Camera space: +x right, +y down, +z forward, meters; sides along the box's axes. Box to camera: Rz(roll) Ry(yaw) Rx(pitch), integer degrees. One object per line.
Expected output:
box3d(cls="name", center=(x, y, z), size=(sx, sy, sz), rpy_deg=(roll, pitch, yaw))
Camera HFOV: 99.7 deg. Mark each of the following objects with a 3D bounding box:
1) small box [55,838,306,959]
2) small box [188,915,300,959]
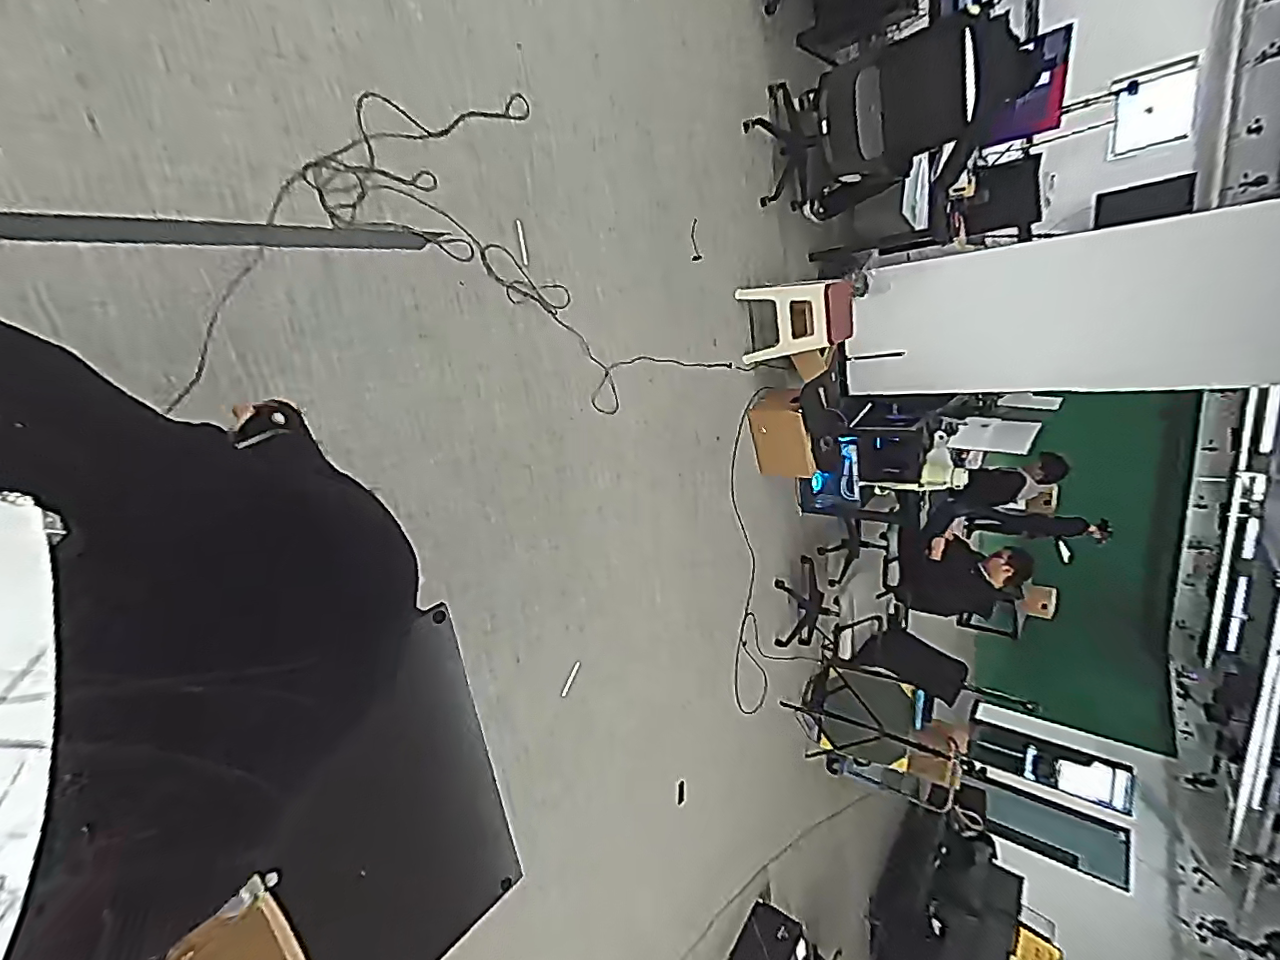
box3d(cls="small box", center=(-0.500, 0.545, 0.603), size=(0.168, 0.176, 0.179), rpy_deg=(-30, 116, -43))
box3d(cls="small box", center=(-0.376, 0.561, 0.494), size=(0.168, 0.176, 0.179), rpy_deg=(-32, 117, -42))
